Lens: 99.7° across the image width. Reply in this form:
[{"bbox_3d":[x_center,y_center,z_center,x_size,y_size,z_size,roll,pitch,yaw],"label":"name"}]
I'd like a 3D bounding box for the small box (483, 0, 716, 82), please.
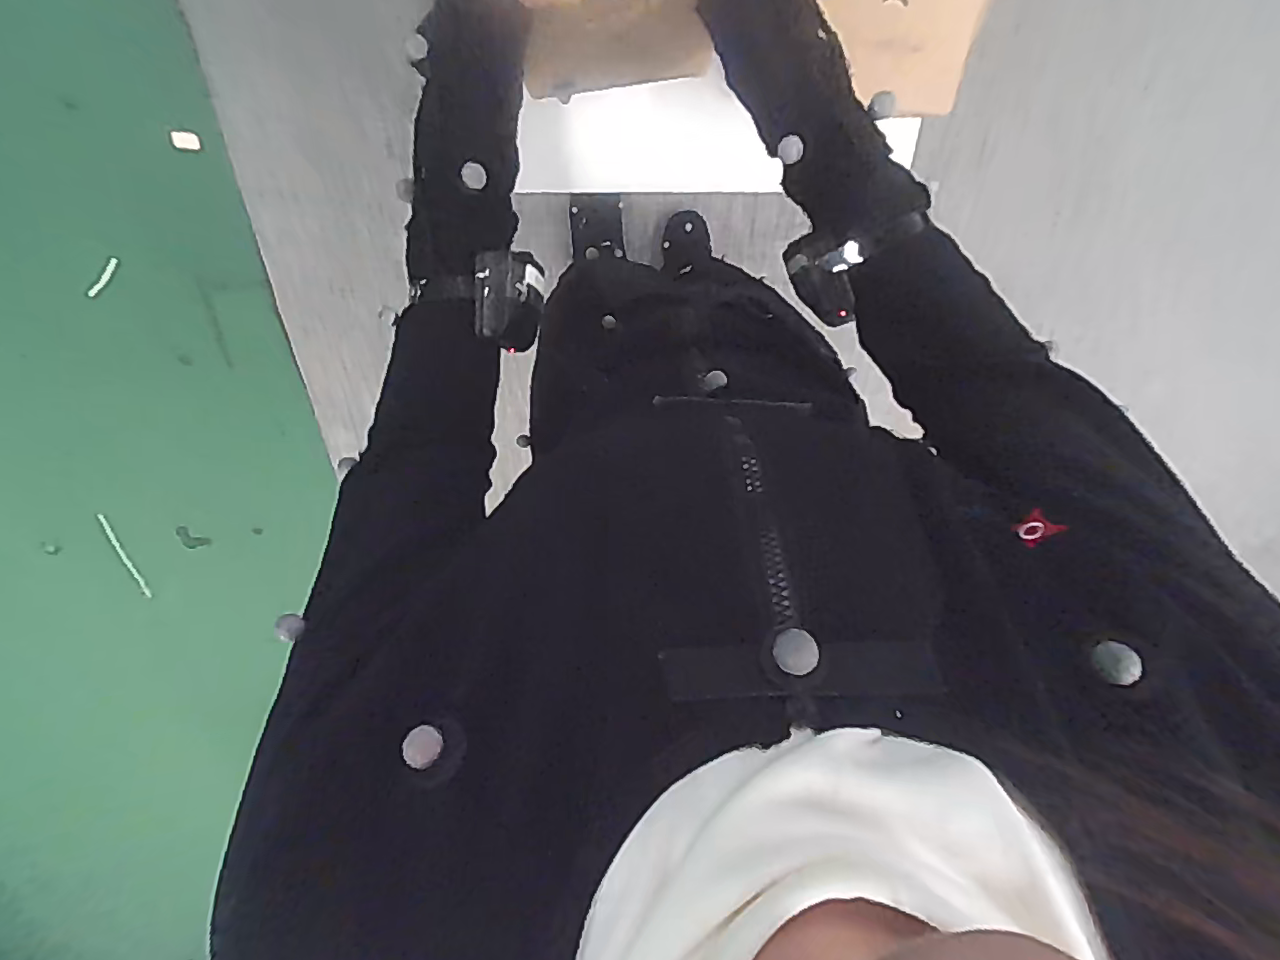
[{"bbox_3d":[-0.032,-0.420,0.391,0.168,0.176,0.179,-8,108,1],"label":"small box"}]

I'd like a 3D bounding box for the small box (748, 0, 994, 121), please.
[{"bbox_3d":[0.210,-0.452,0.509,0.168,0.176,0.179,2,123,-5],"label":"small box"}]
